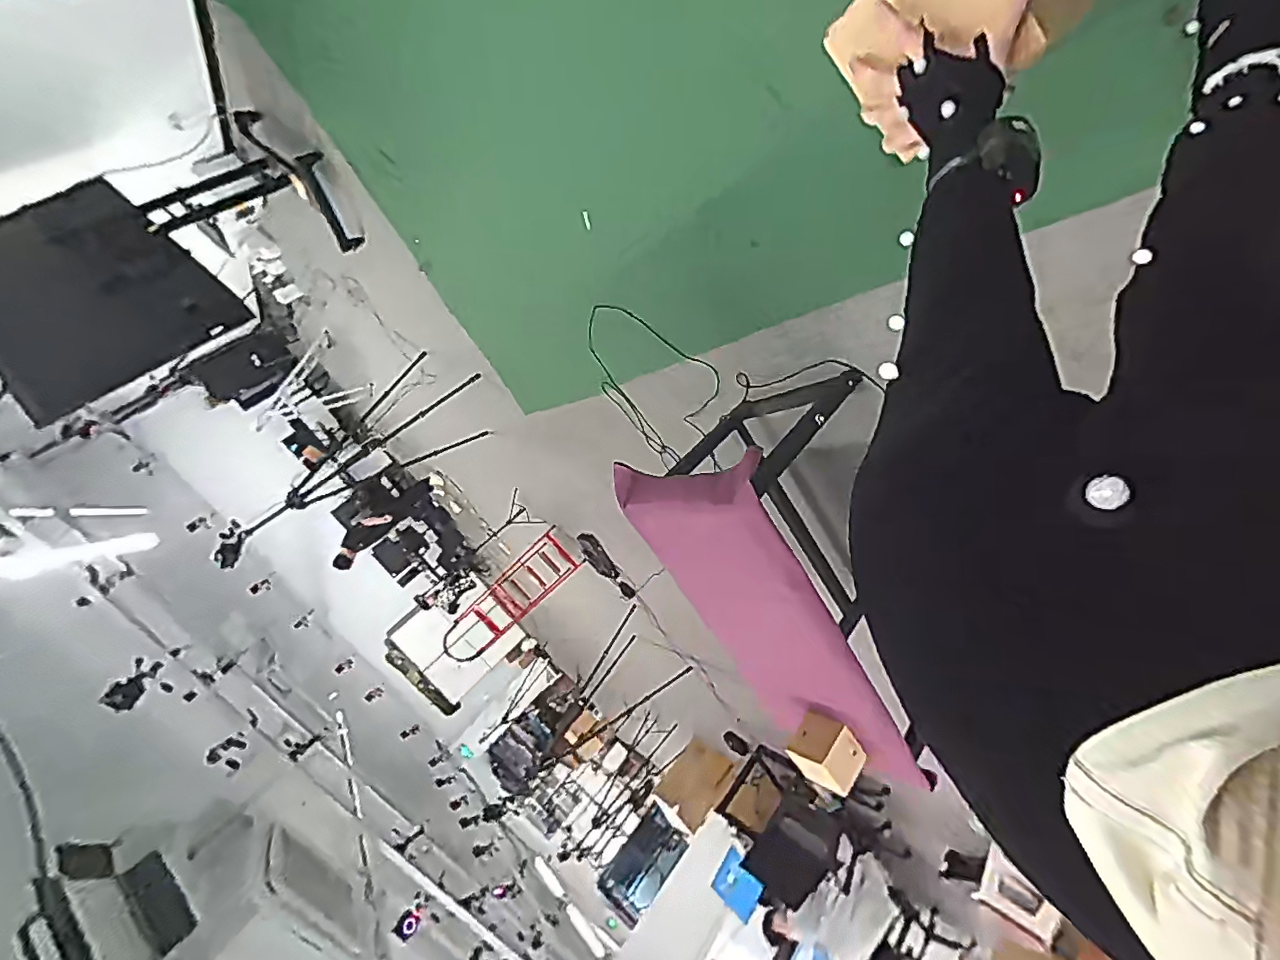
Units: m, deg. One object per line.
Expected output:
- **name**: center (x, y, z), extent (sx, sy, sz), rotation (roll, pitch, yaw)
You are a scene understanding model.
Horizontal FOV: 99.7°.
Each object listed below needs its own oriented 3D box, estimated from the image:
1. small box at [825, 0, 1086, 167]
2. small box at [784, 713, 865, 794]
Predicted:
- **small box**: center (0.358, -0.513, 0.621), extent (0.179, 0.176, 0.168), rotation (51, 153, -6)
- **small box**: center (0.651, 0.951, 1.901), extent (0.168, 0.176, 0.179), rotation (53, 153, -14)
